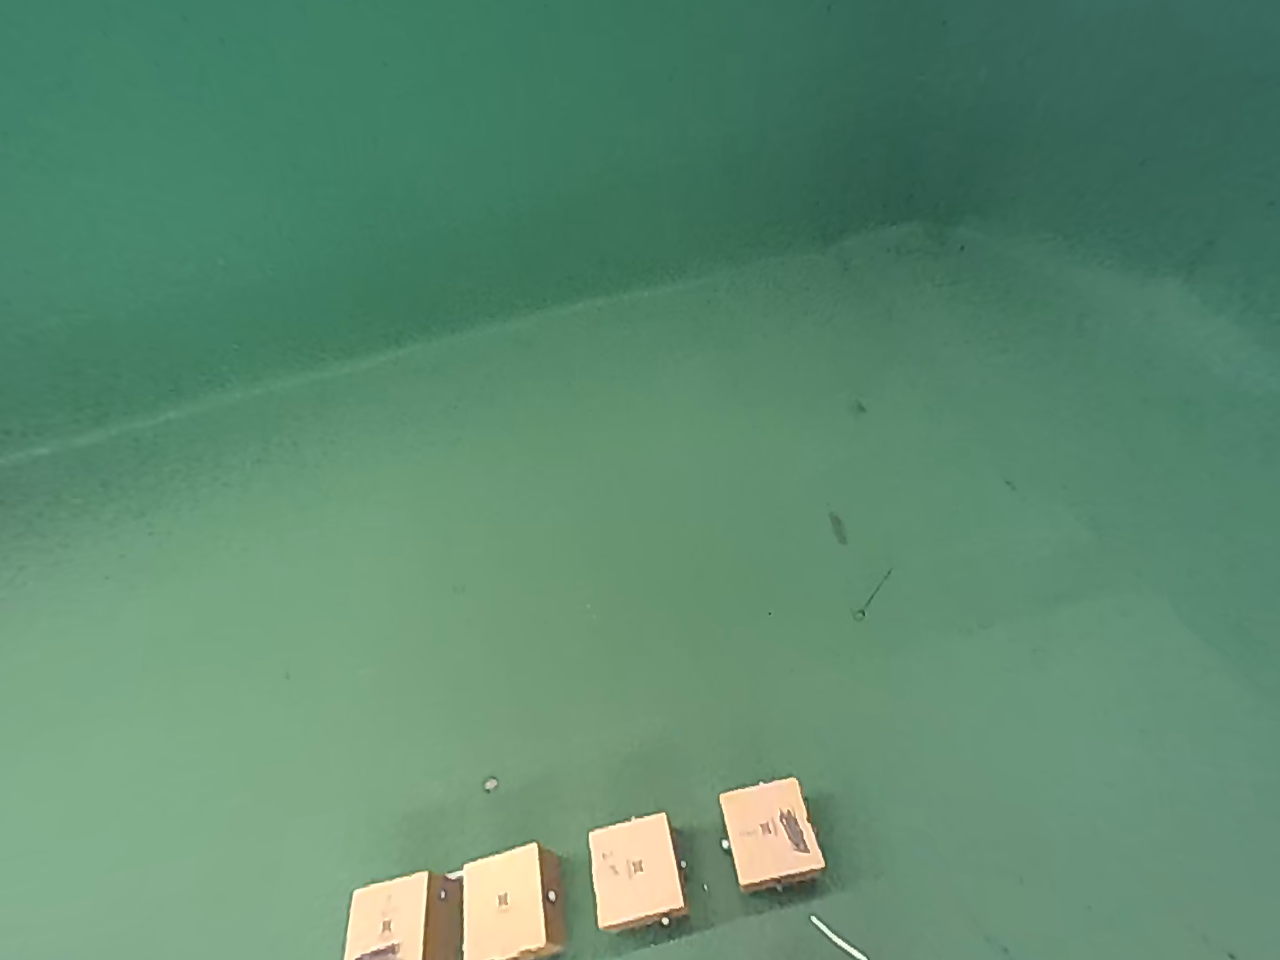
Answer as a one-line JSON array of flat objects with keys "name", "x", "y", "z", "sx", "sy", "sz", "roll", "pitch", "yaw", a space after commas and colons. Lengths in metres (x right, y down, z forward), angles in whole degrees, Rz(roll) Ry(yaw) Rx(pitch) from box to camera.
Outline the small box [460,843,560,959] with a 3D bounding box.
[{"name": "small box", "x": -0.277, "y": 0.915, "z": 1.161, "sx": 0.168, "sy": 0.176, "sz": 0.179, "roll": -15, "pitch": 48, "yaw": -3}]

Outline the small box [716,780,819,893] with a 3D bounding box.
[{"name": "small box", "x": 0.270, "y": 0.778, "z": 1.178, "sx": 0.179, "sy": 0.176, "sz": 0.168, "roll": -13, "pitch": 47, "yaw": 1}]

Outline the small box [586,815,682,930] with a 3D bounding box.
[{"name": "small box", "x": -0.010, "y": 0.848, "z": 1.167, "sx": 0.179, "sy": 0.176, "sz": 0.168, "roll": -13, "pitch": 47, "yaw": -2}]
